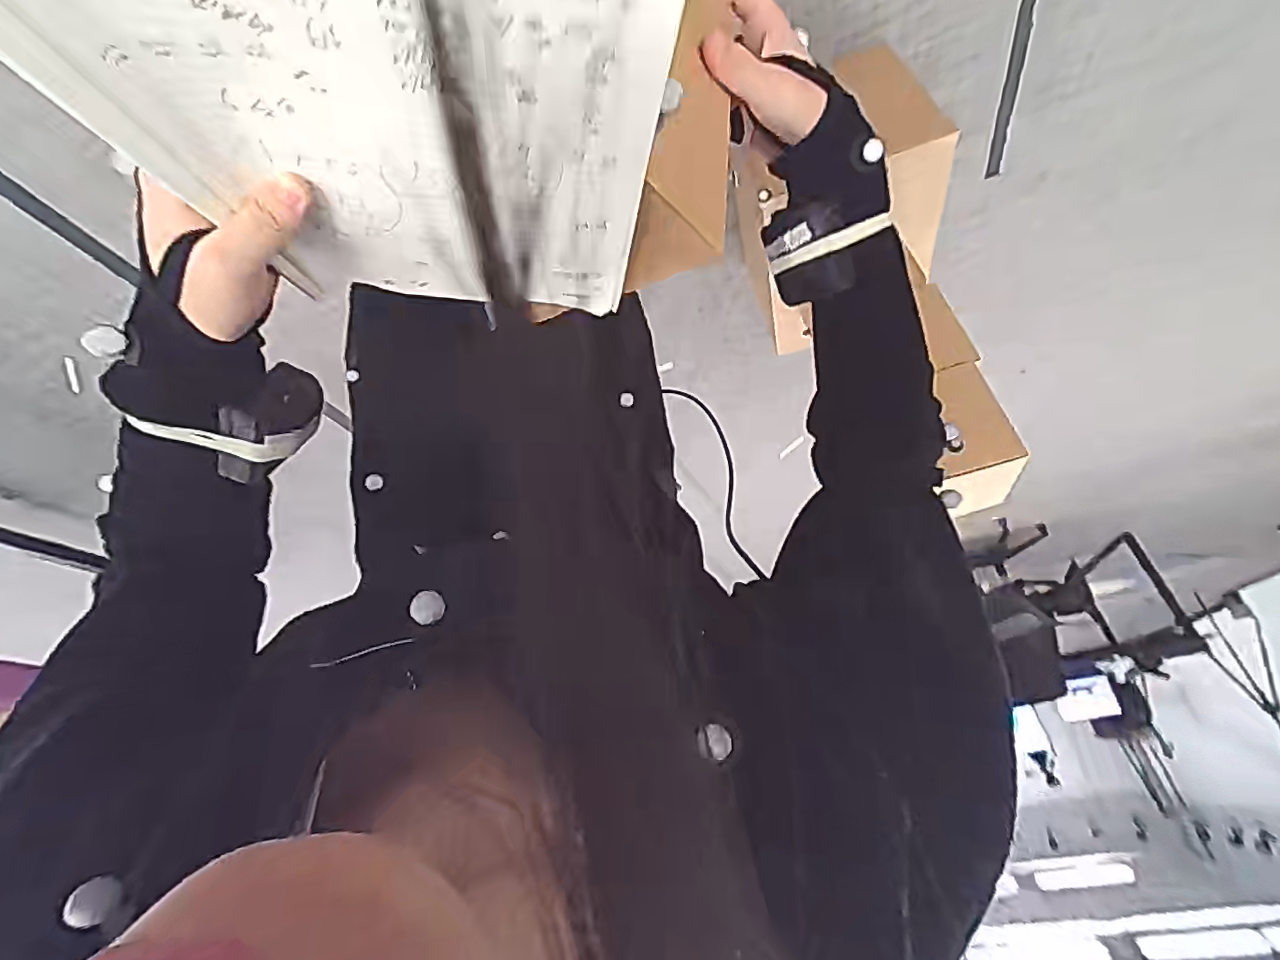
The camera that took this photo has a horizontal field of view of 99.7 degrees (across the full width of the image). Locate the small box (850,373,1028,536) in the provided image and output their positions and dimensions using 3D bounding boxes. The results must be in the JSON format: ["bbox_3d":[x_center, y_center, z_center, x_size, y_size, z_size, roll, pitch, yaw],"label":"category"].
[{"bbox_3d":[0.440,-0.037,0.829,0.179,0.176,0.168,-17,149,13],"label":"small box"}]

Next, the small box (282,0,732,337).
[{"bbox_3d":[-0.059,-0.207,0.303,0.168,0.176,0.179,-3,169,36],"label":"small box"}]

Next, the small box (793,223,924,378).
[{"bbox_3d":[0.388,-0.323,0.984,0.179,0.176,0.168,-19,150,14],"label":"small box"}]
